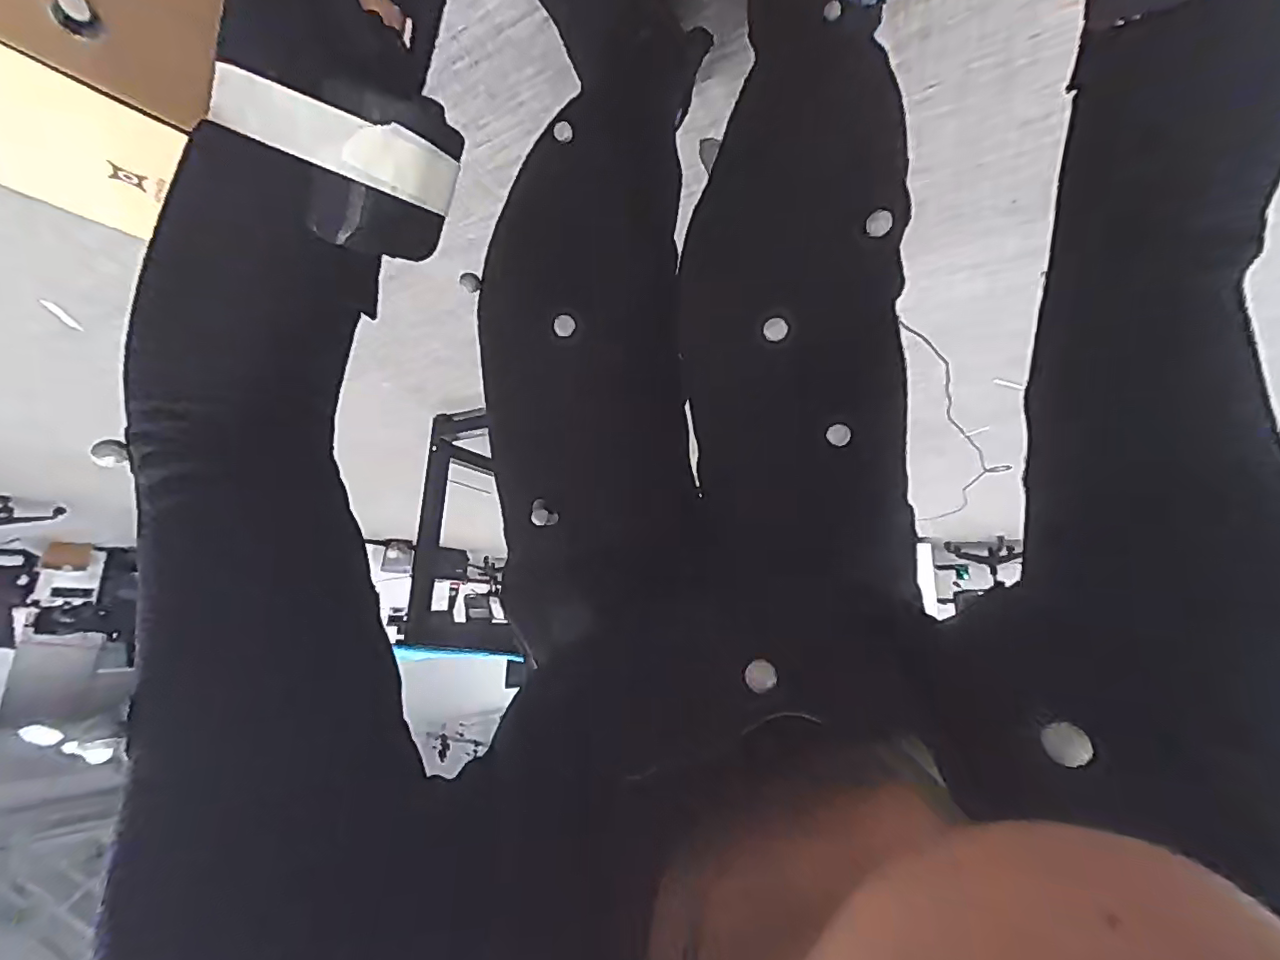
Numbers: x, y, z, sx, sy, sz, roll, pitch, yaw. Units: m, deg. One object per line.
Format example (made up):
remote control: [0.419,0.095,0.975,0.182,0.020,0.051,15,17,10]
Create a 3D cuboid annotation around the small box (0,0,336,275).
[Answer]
small box: [-0.373,-0.305,0.433,0.168,0.176,0.179,-10,164,42]
